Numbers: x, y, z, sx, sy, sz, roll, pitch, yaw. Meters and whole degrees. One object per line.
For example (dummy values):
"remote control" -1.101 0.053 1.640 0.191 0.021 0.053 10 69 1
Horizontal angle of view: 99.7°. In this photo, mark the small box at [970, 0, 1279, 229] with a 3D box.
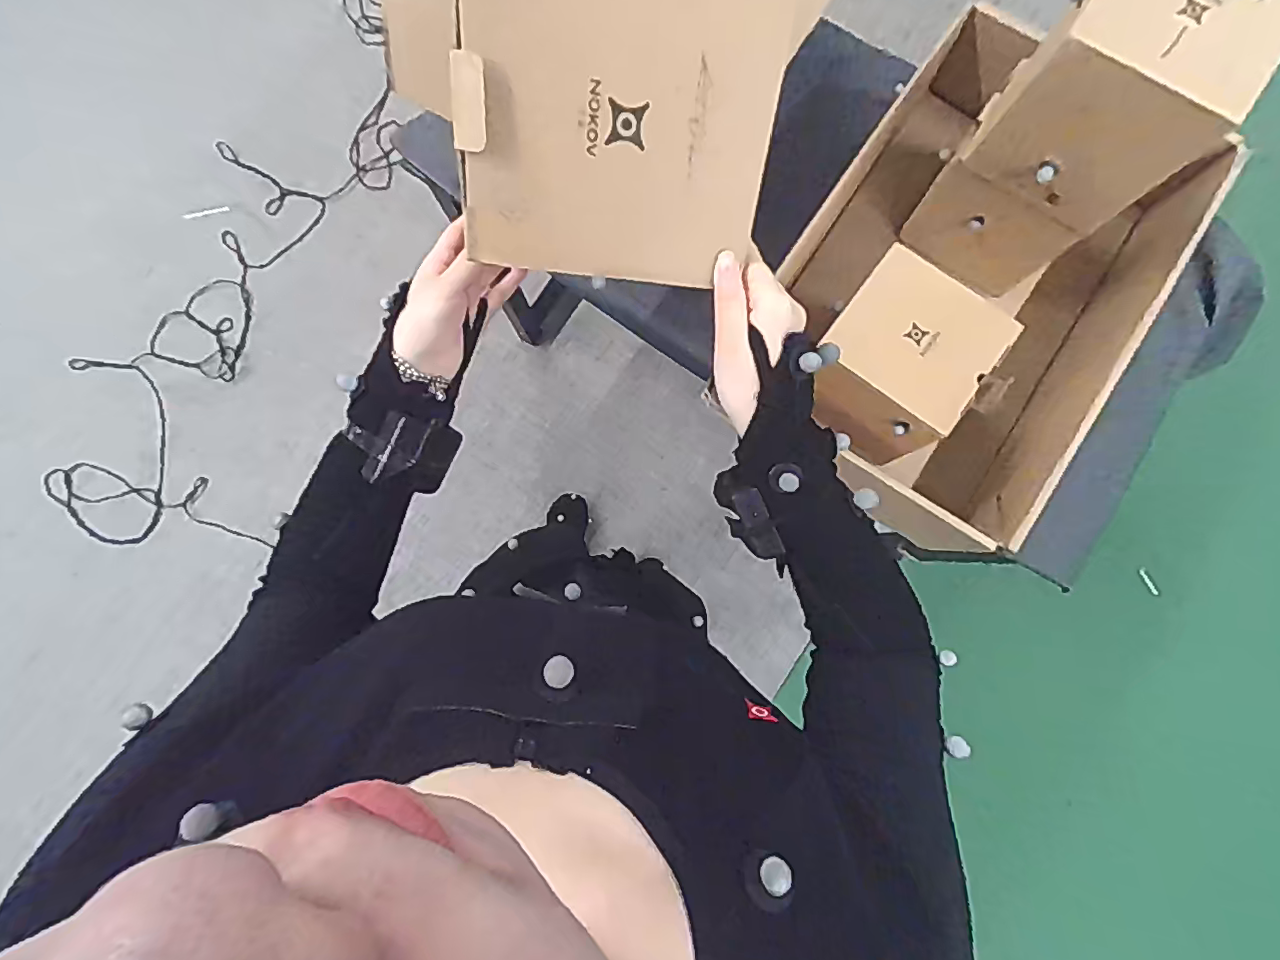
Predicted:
"small box" 0.490 -0.408 0.558 0.168 0.176 0.179 34 86 4

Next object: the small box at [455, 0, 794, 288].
"small box" -0.020 -0.243 0.373 0.179 0.176 0.168 2 123 -9
